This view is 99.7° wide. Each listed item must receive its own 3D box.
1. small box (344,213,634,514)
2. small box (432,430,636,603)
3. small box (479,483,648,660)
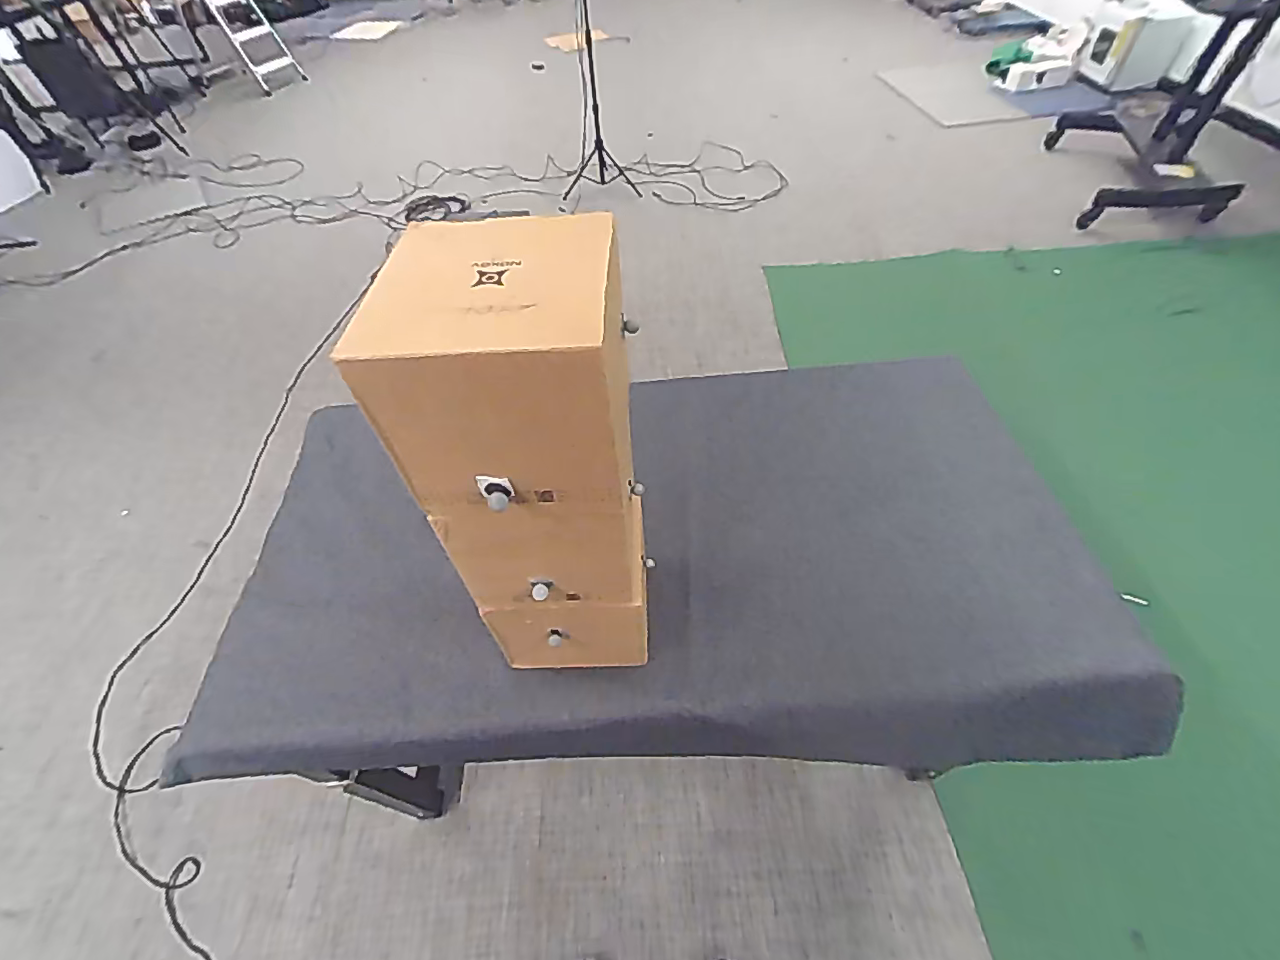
[{"bbox_3d":[-0.094,-0.090,0.437,0.168,0.176,0.179,-2,51,3],"label":"small box"},{"bbox_3d":[-0.091,0.010,0.563,0.168,0.176,0.179,-1,51,2],"label":"small box"},{"bbox_3d":[-0.081,0.120,0.686,0.179,0.176,0.168,-1,51,2],"label":"small box"}]
